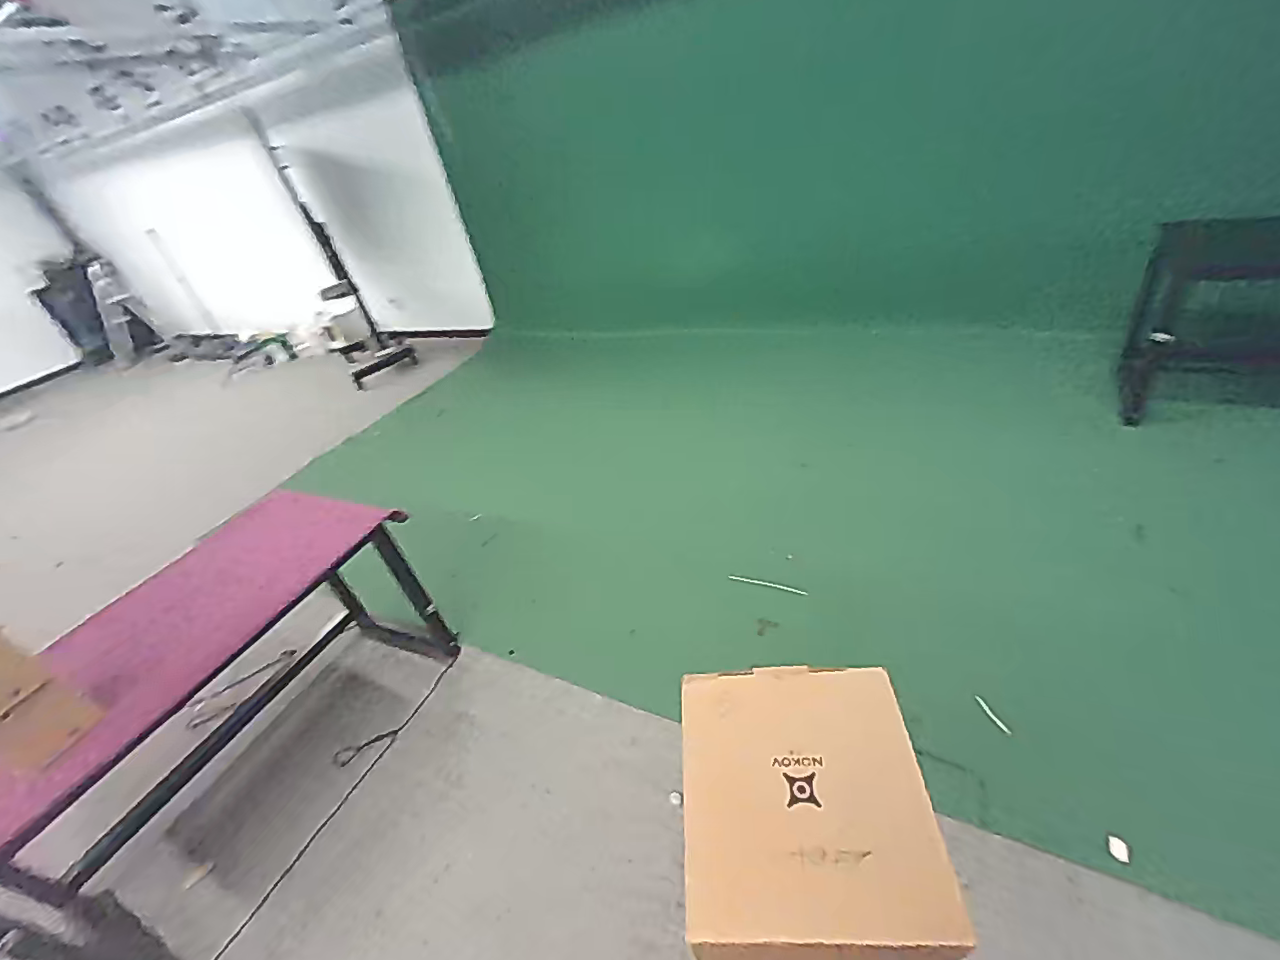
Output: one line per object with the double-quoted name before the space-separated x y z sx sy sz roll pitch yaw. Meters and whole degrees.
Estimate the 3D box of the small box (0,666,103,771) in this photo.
"small box" -1.391 0.522 1.216 0.179 0.176 0.168 4 38 23

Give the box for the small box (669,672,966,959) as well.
"small box" 0.112 0.272 0.417 0.168 0.176 0.179 -4 40 7

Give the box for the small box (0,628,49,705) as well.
"small box" -1.405 0.390 1.116 0.179 0.176 0.168 5 37 24
